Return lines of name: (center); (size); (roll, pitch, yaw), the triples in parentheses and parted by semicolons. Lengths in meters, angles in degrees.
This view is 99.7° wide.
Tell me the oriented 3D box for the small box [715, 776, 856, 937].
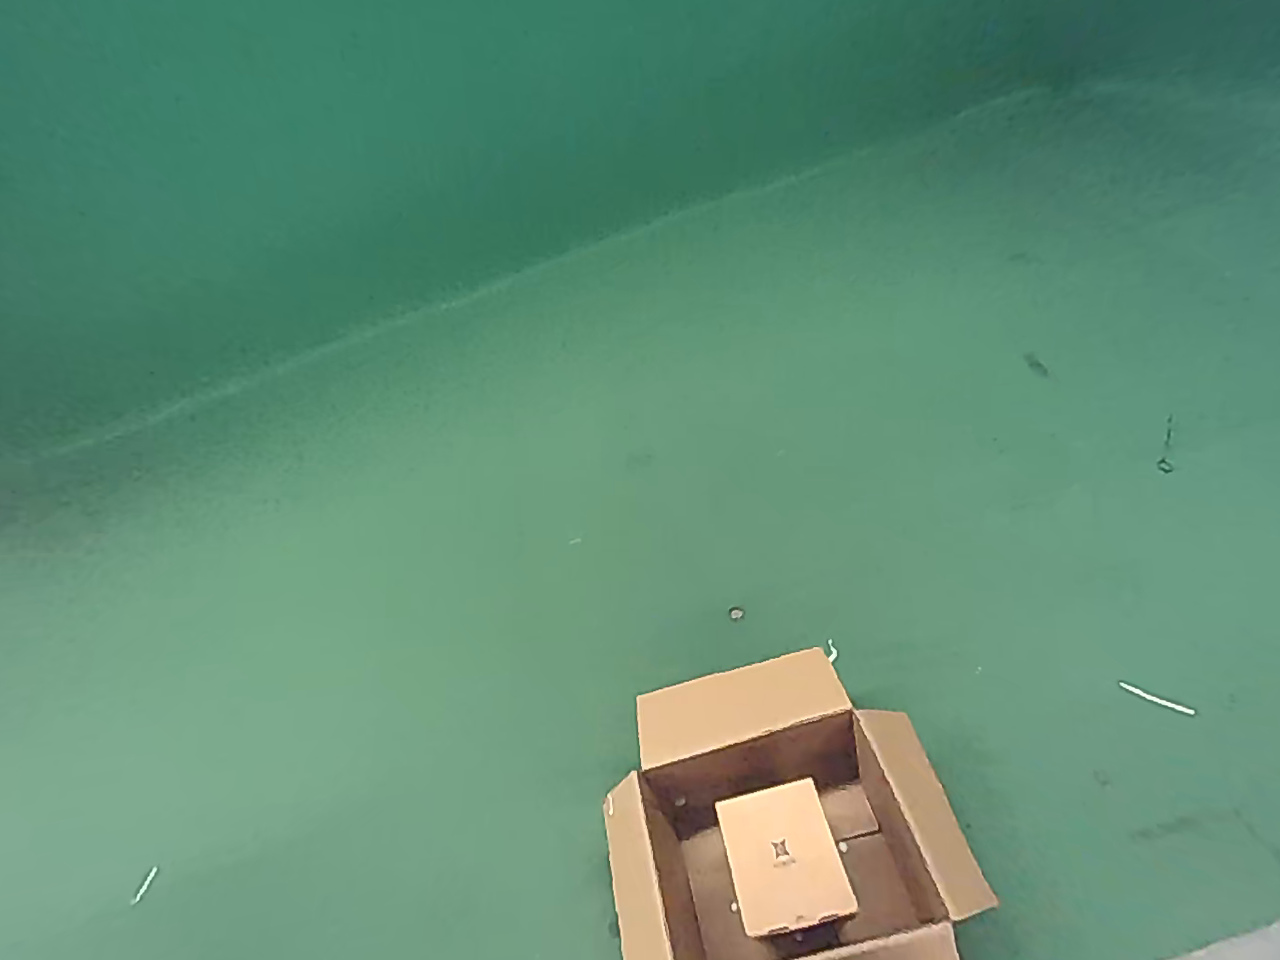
small box: (0.229, 0.612, 0.877); (0.168, 0.176, 0.179); (-17, 47, 3)
